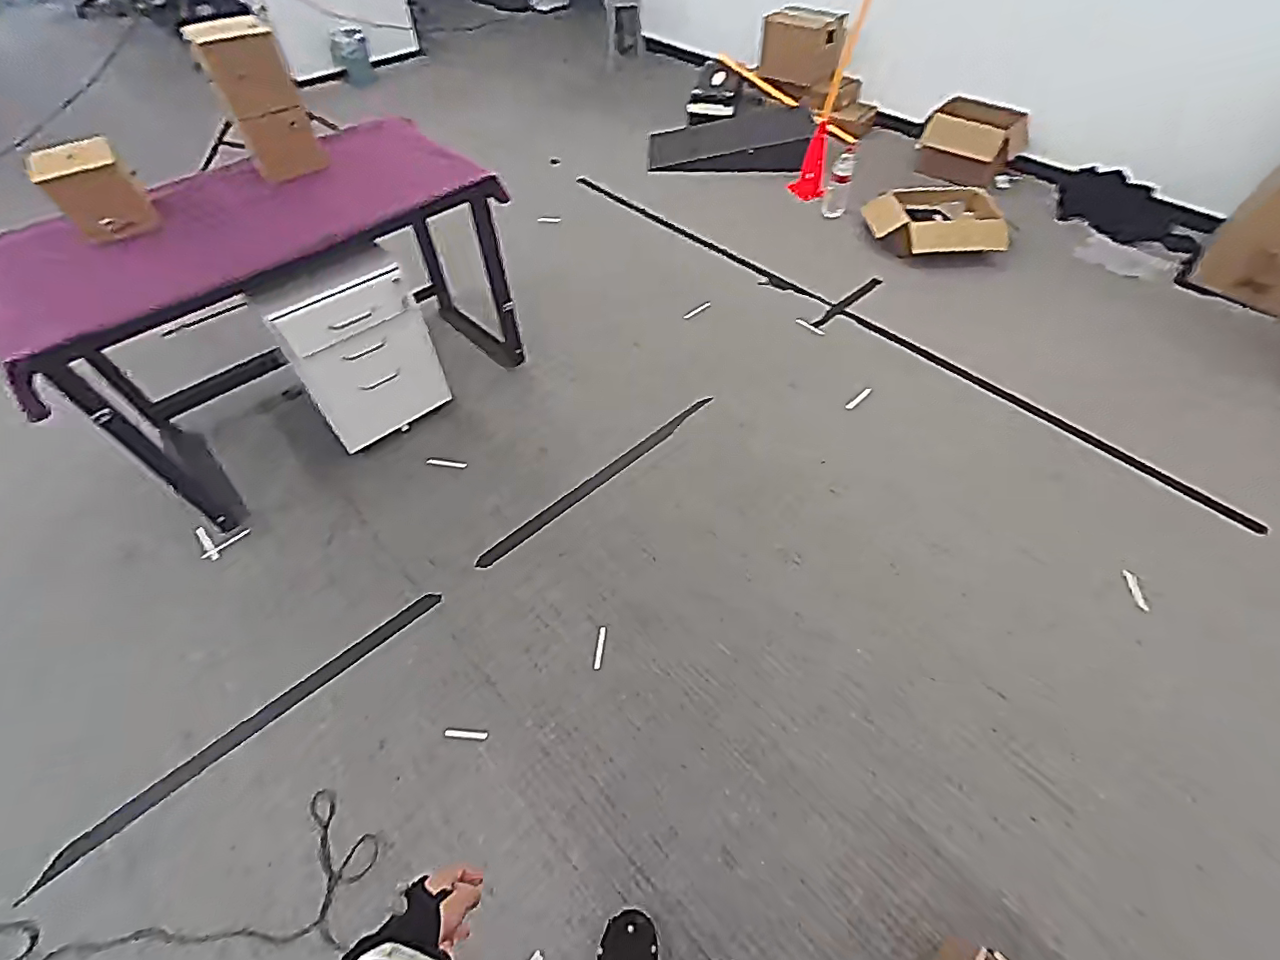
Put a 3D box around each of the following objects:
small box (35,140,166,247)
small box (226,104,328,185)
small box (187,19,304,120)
[{"bbox_3d":[-1.373,-0.732,1.384,0.168,0.176,0.179,-33,62,-20],"label":"small box"},{"bbox_3d":[-1.049,-1.000,1.582,0.179,0.176,0.168,-34,61,-22],"label":"small box"},{"bbox_3d":[-1.051,-1.098,1.450,0.179,0.176,0.168,-33,61,-21],"label":"small box"}]
